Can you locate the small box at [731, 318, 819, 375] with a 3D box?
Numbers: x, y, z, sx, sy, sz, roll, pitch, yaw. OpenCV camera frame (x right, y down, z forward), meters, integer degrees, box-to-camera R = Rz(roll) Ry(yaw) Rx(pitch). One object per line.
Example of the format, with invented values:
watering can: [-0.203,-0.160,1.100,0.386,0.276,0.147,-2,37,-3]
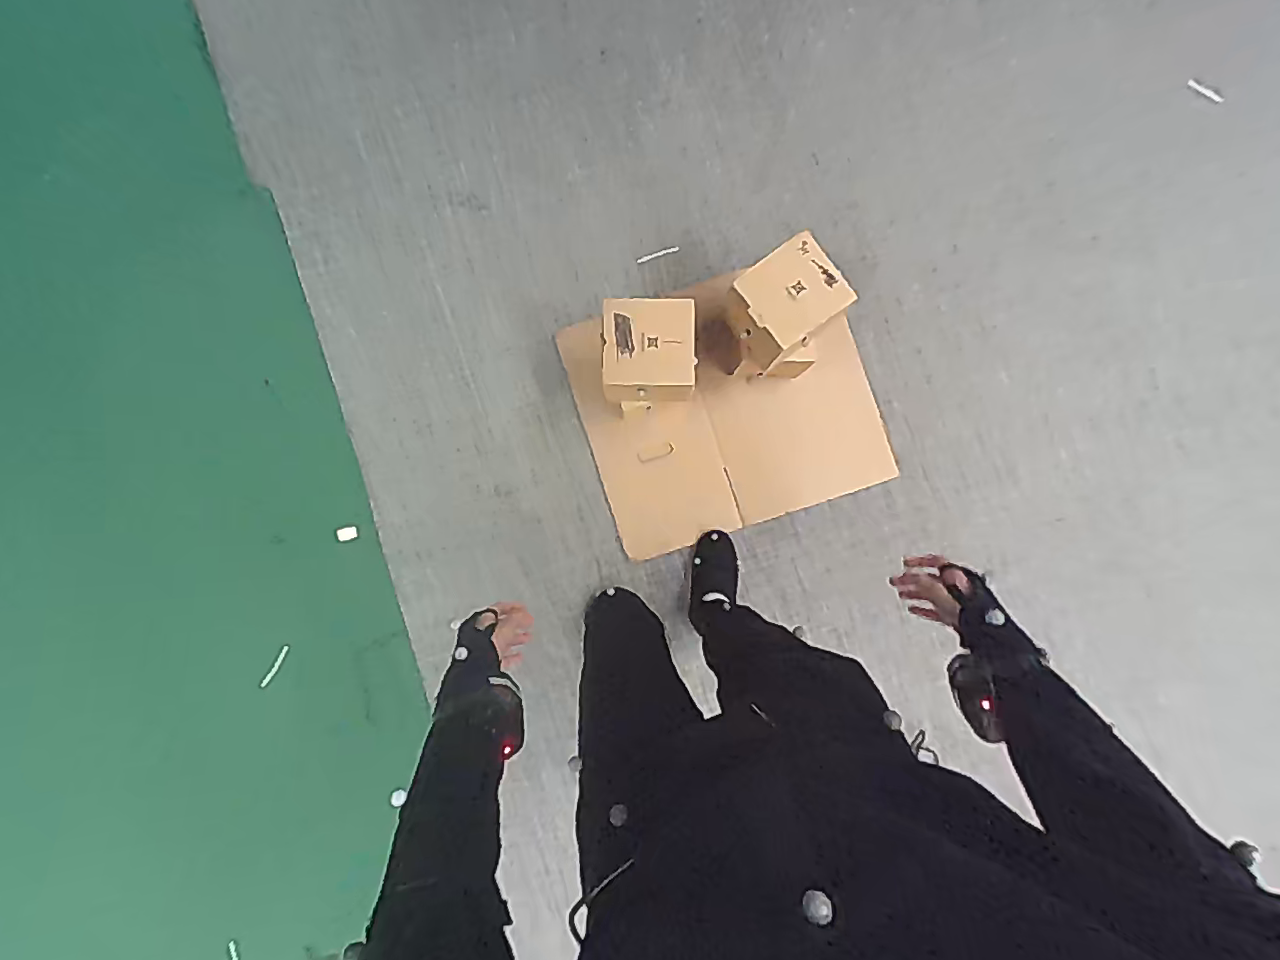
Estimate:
small box: [0.304,-0.350,1.245,0.168,0.176,0.179,1,89,1]

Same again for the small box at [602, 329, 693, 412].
small box: [0.019,-0.264,1.250,0.168,0.176,0.179,-16,88,0]

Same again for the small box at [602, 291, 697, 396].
small box: [0.018,-0.266,1.085,0.179,0.176,0.168,1,88,0]

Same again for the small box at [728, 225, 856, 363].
small box: [0.290,-0.359,1.082,0.179,0.176,0.168,-35,88,1]
